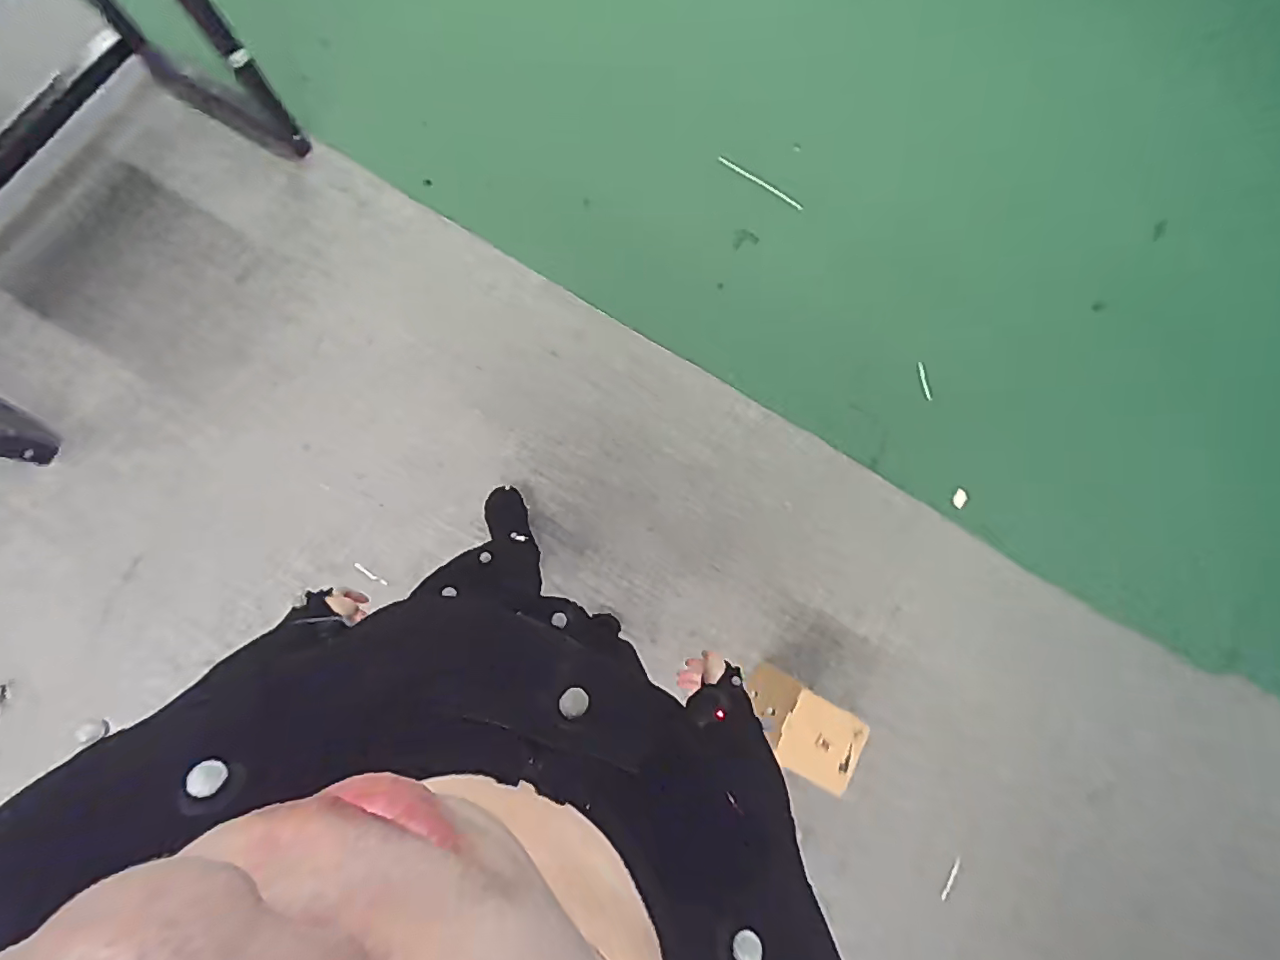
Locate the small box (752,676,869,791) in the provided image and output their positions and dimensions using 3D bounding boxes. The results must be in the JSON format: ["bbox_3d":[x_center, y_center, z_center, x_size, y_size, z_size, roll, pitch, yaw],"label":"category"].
[{"bbox_3d":[0.384,0.574,1.254,0.179,0.176,0.168,29,80,1],"label":"small box"}]
